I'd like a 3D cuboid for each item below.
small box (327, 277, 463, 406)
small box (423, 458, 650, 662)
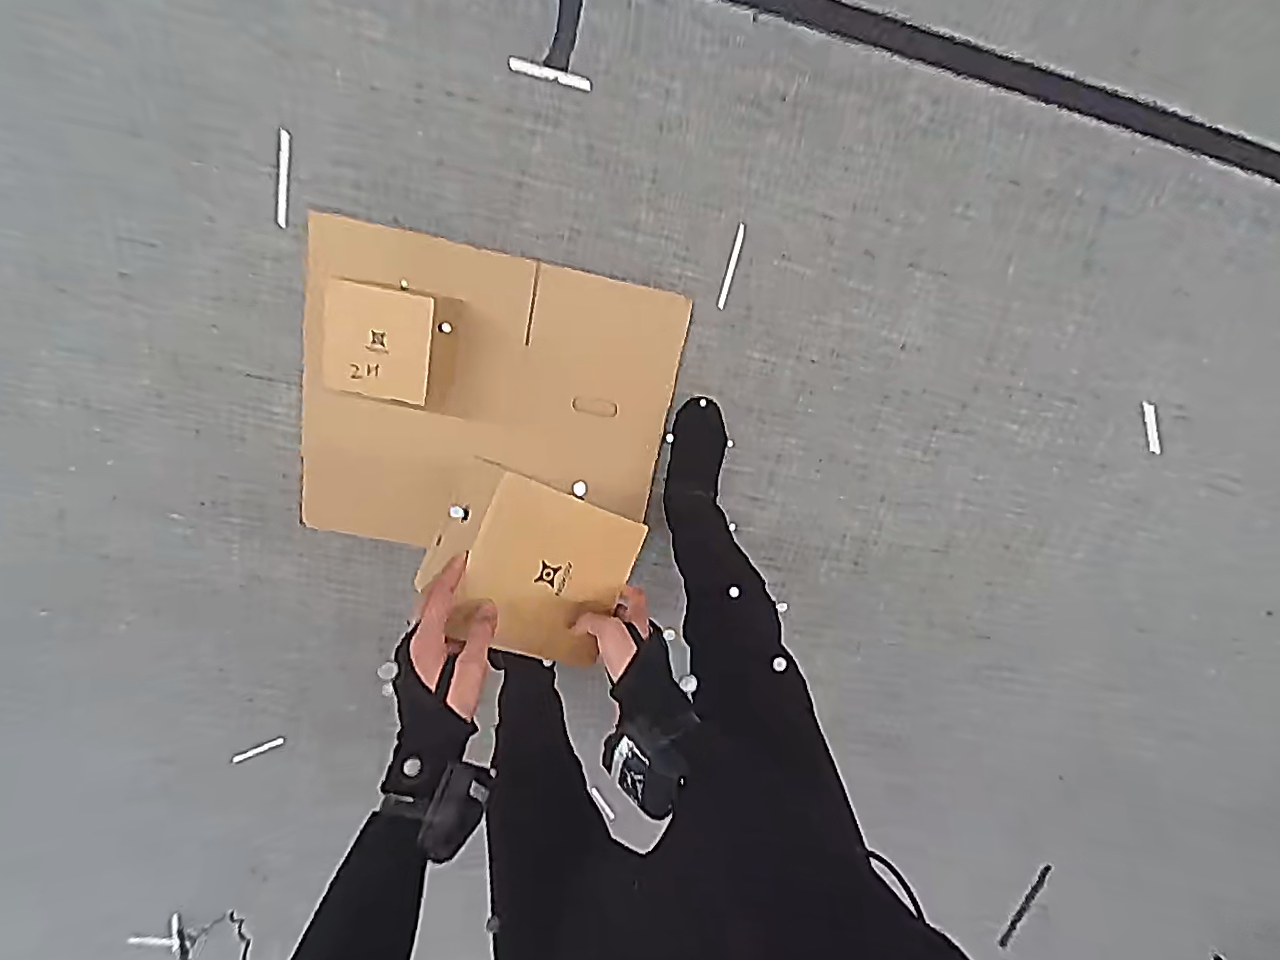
[{"bbox_3d":[-0.415,-0.241,0.938,0.168,0.176,0.179,10,108,-6],"label":"small box"},{"bbox_3d":[-0.125,0.081,0.615,0.179,0.176,0.168,25,85,-30],"label":"small box"}]
